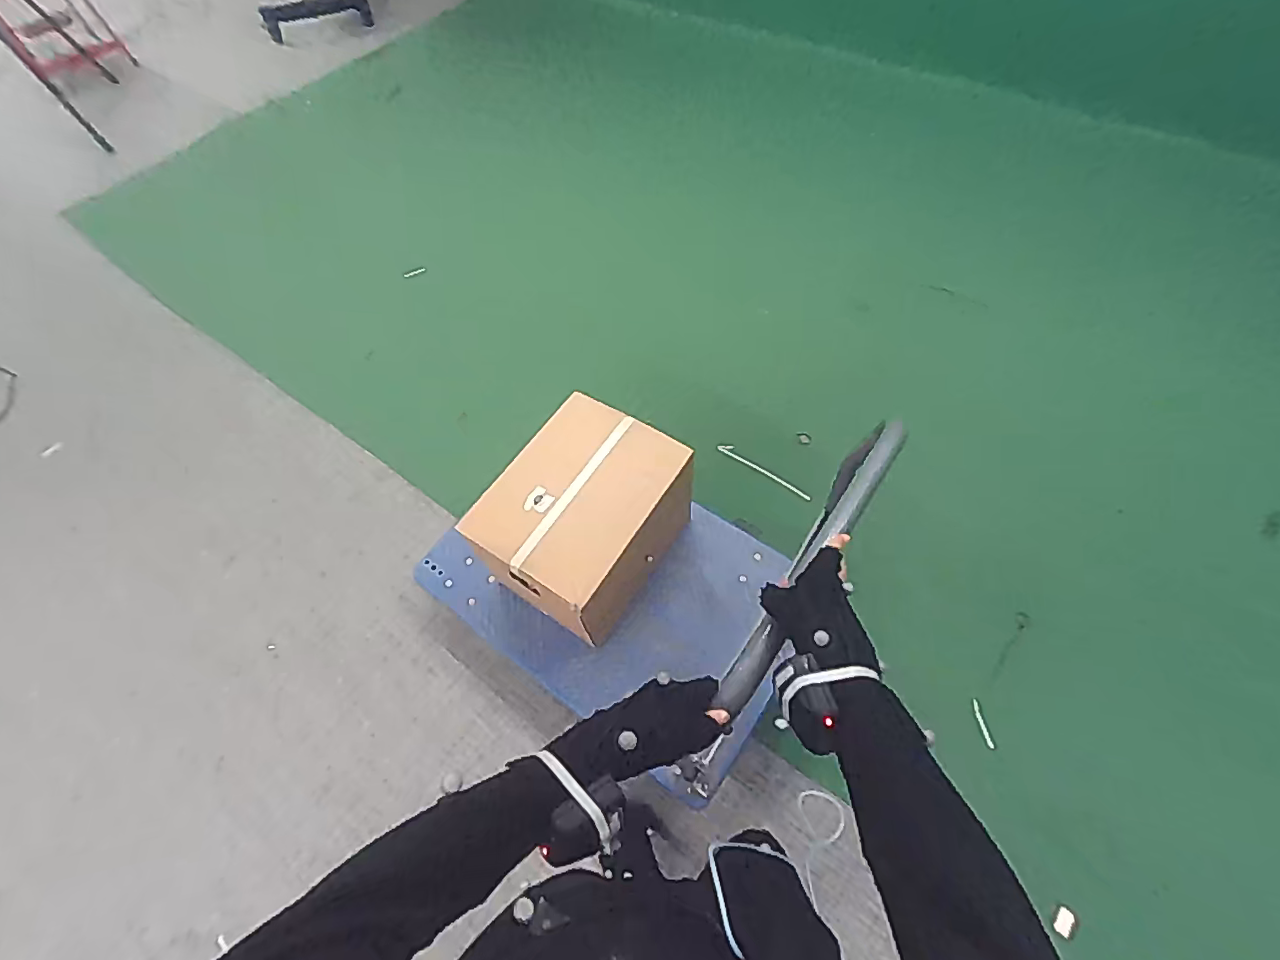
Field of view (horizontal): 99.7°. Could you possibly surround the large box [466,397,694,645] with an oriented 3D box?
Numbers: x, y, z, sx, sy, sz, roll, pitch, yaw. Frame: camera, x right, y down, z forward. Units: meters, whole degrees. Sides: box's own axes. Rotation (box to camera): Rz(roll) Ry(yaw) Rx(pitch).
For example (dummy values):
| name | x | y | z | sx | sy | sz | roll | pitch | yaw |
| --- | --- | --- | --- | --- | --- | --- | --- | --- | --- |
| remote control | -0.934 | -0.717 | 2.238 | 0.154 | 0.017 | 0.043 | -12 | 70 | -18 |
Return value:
| name | x | y | z | sx | sy | sz | roll | pitch | yaw |
| --- | --- | --- | --- | --- | --- | --- | --- | --- | --- |
| large box | -0.109 | 0.097 | 1.231 | 0.320 | 0.320 | 0.408 | 28 | 66 | 18 |
